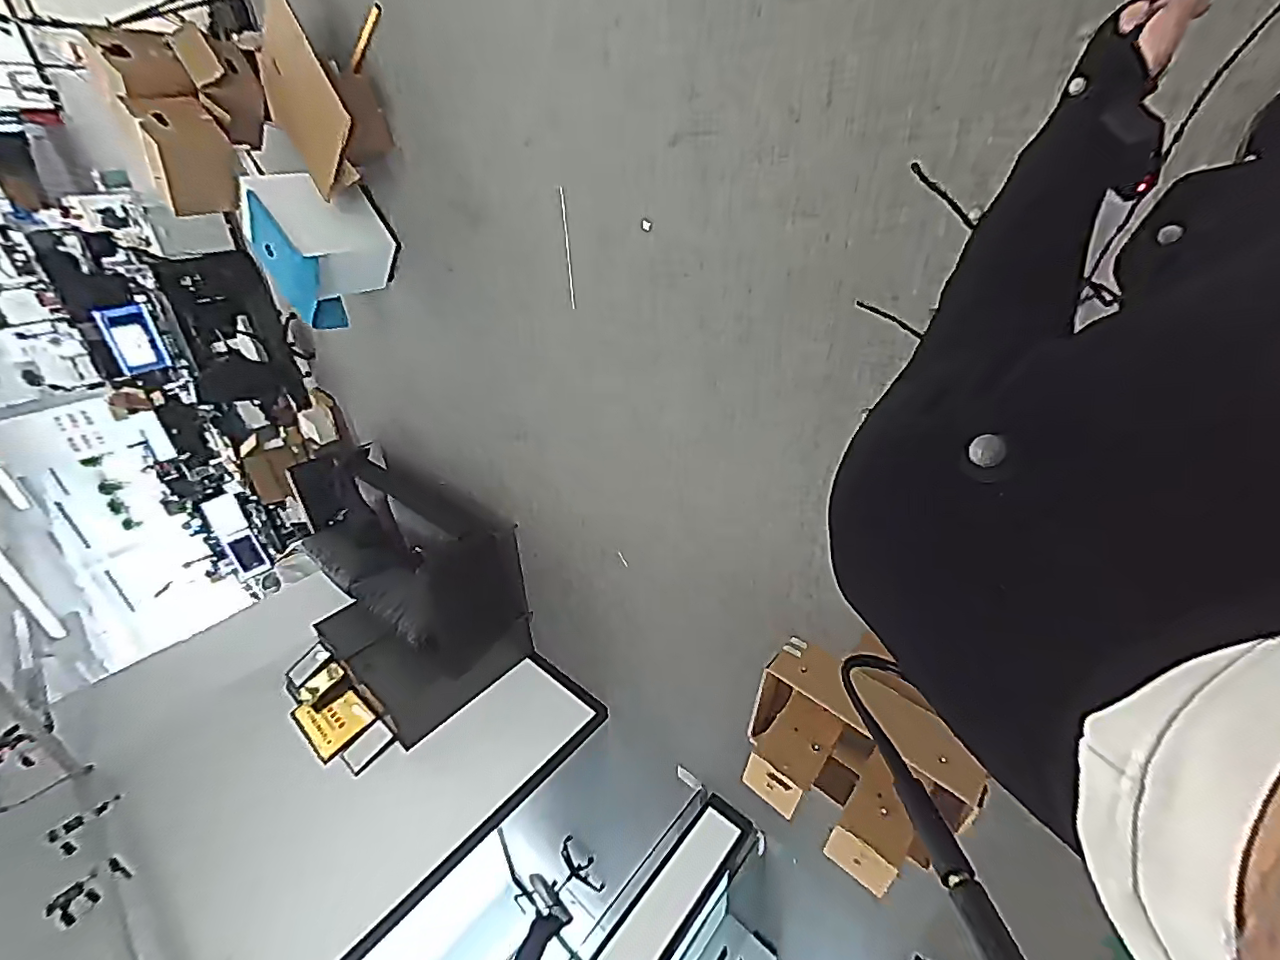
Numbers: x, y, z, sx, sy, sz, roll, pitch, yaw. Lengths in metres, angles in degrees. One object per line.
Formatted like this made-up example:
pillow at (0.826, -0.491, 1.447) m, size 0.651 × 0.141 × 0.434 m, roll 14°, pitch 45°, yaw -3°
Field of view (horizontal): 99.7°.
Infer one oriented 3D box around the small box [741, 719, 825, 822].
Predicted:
small box at (0.425, 0.851, 1.597) m, size 0.168 × 0.176 × 0.179 m, roll 30°, pitch 133°, yaw 31°

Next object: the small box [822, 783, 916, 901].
small box at (0.621, 0.974, 1.464) m, size 0.168 × 0.176 × 0.179 m, roll 27°, pitch 131°, yaw 32°

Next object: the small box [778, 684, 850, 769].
small box at (0.536, 0.786, 1.701) m, size 0.168 × 0.176 × 0.179 m, roll 29°, pitch 131°, yaw 32°
